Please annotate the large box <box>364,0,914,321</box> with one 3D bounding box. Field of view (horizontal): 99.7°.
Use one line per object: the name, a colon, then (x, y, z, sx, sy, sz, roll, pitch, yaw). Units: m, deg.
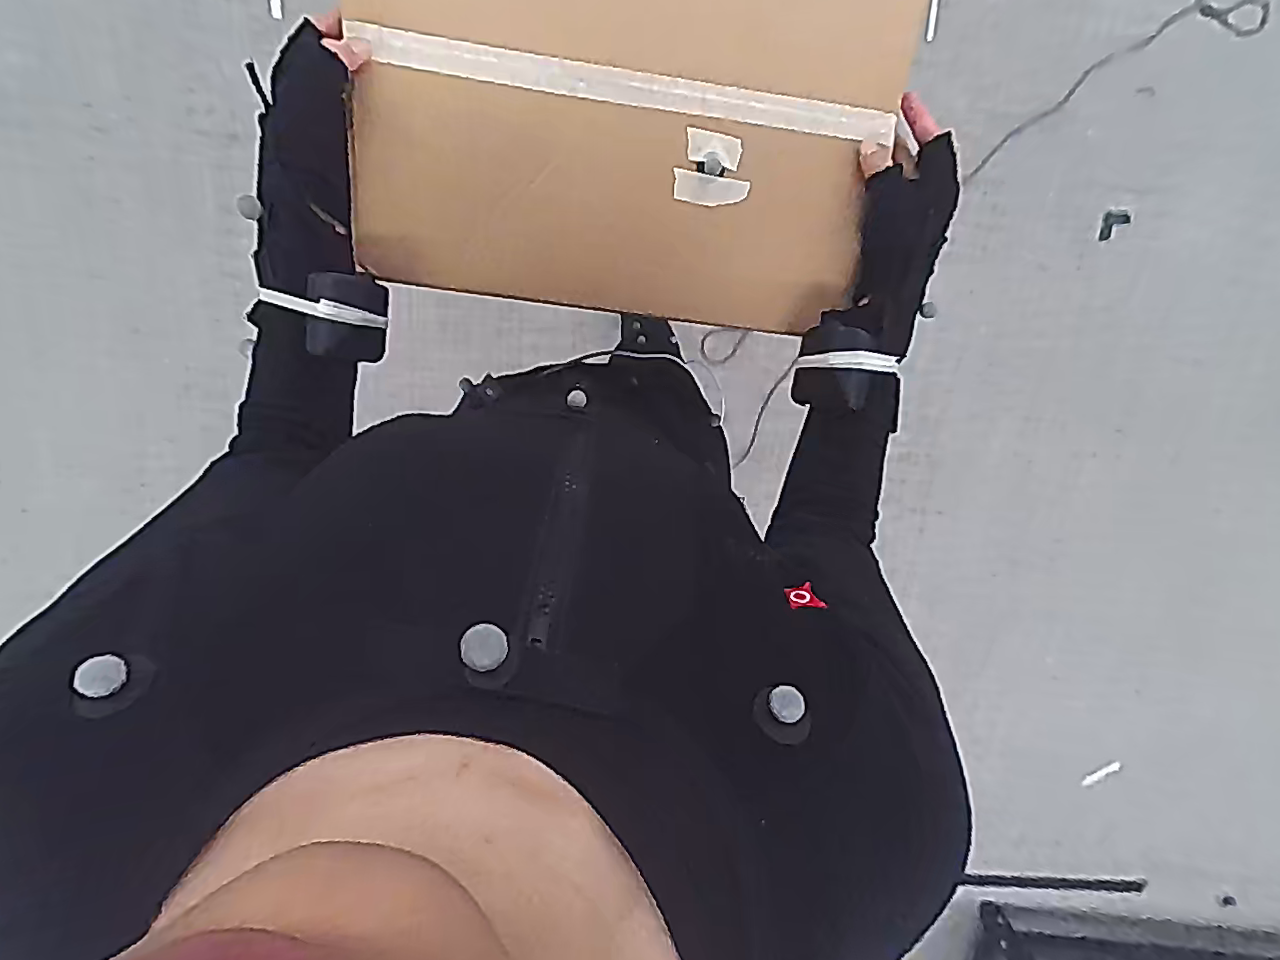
large box: (-0.014, -0.348, 0.548, 0.408, 0.320, 0.320, 5, 110, -6)
